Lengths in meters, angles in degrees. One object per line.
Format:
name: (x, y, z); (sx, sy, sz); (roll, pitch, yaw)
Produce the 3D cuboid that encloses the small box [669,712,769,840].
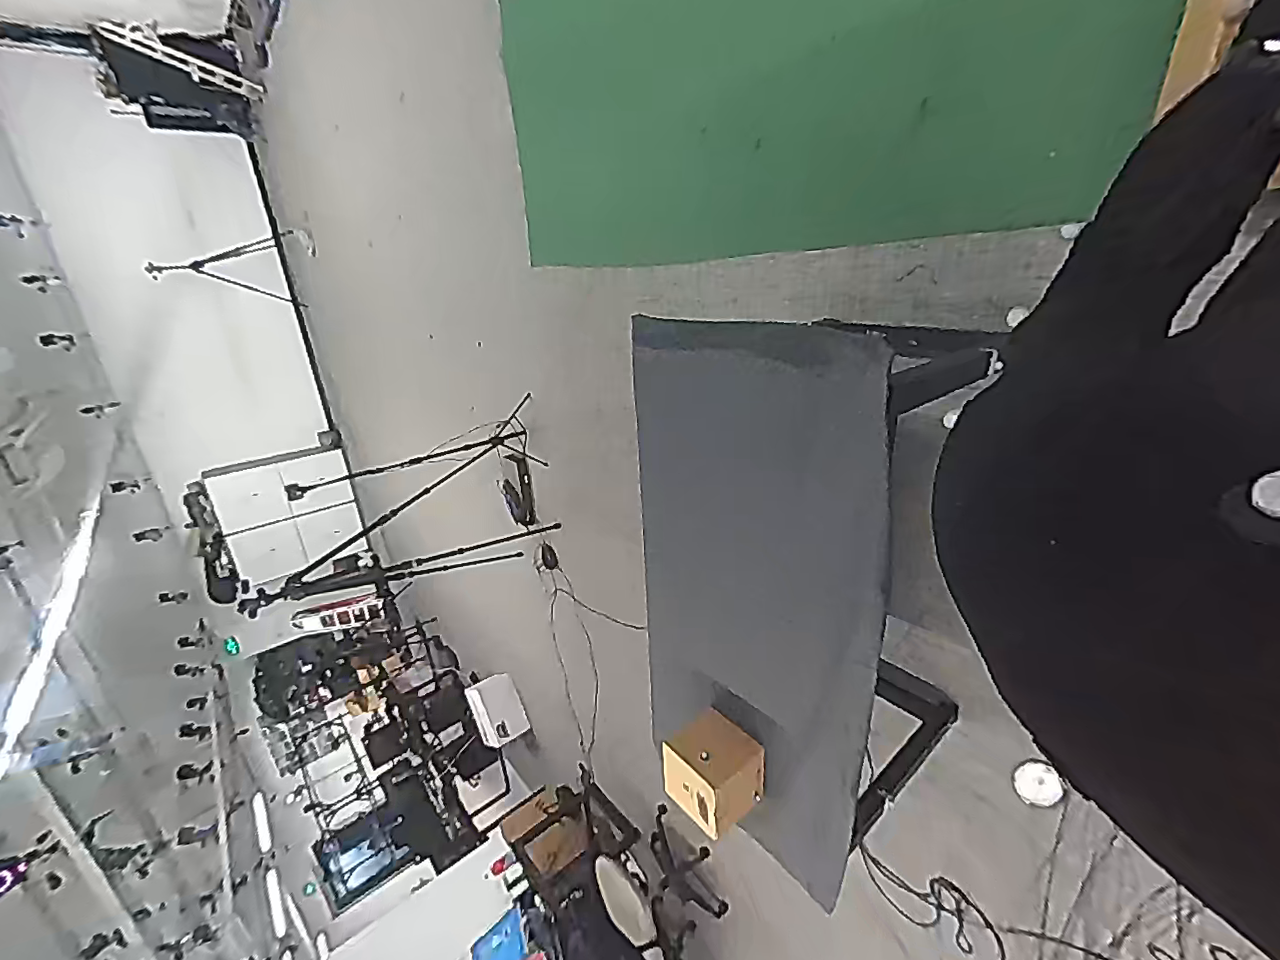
small box: (0.191, 0.694, 1.294); (0.179, 0.176, 0.168); (22, 122, 48)
